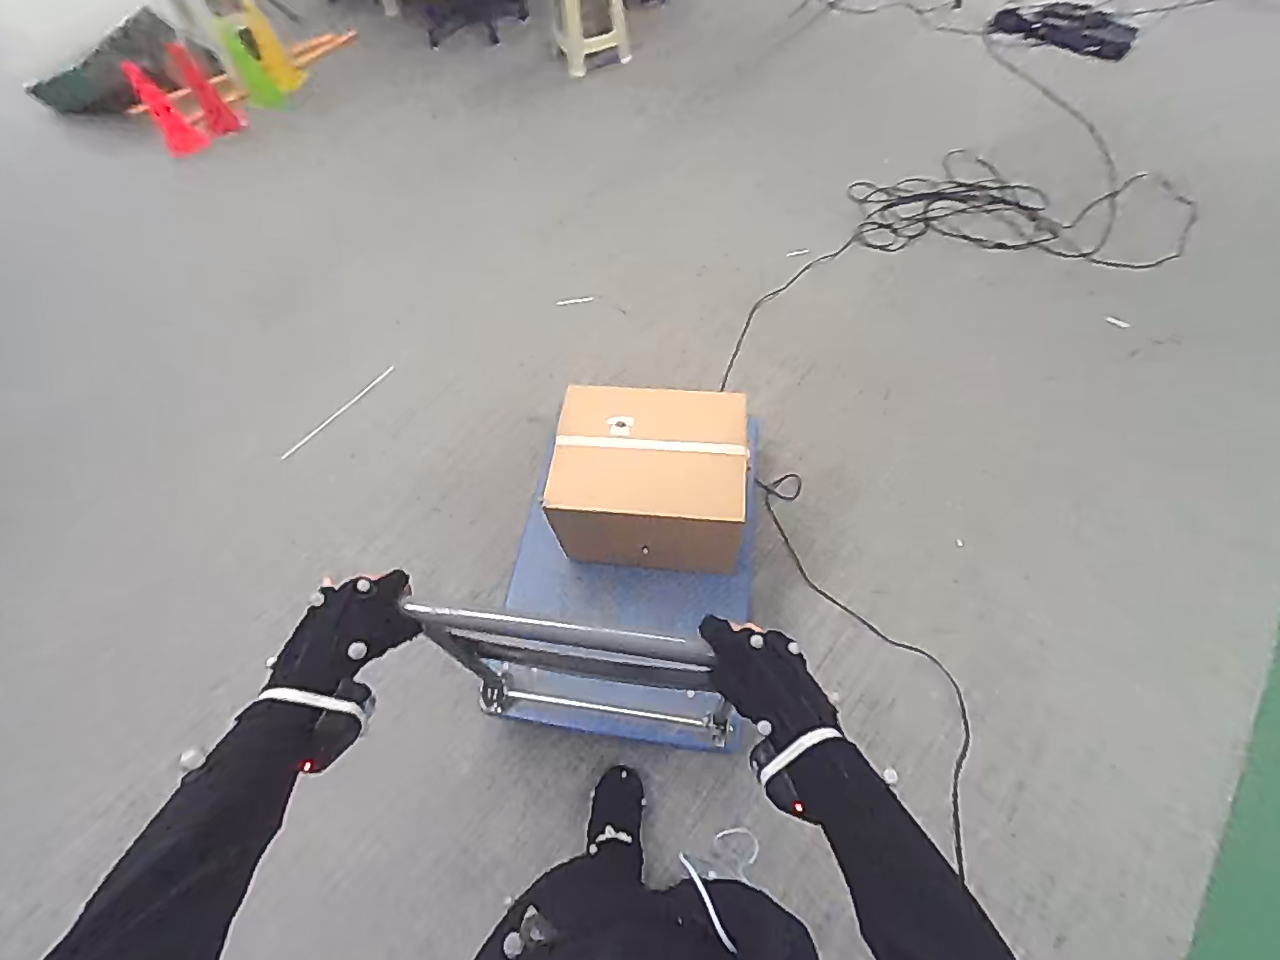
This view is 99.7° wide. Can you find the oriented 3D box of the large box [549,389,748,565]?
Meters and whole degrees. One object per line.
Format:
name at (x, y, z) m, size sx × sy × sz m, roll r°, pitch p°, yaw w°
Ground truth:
large box at (0.038, 0.002, 1.268) m, size 0.408 × 0.320 × 0.320 m, roll 2°, pitch 61°, yaw 7°
